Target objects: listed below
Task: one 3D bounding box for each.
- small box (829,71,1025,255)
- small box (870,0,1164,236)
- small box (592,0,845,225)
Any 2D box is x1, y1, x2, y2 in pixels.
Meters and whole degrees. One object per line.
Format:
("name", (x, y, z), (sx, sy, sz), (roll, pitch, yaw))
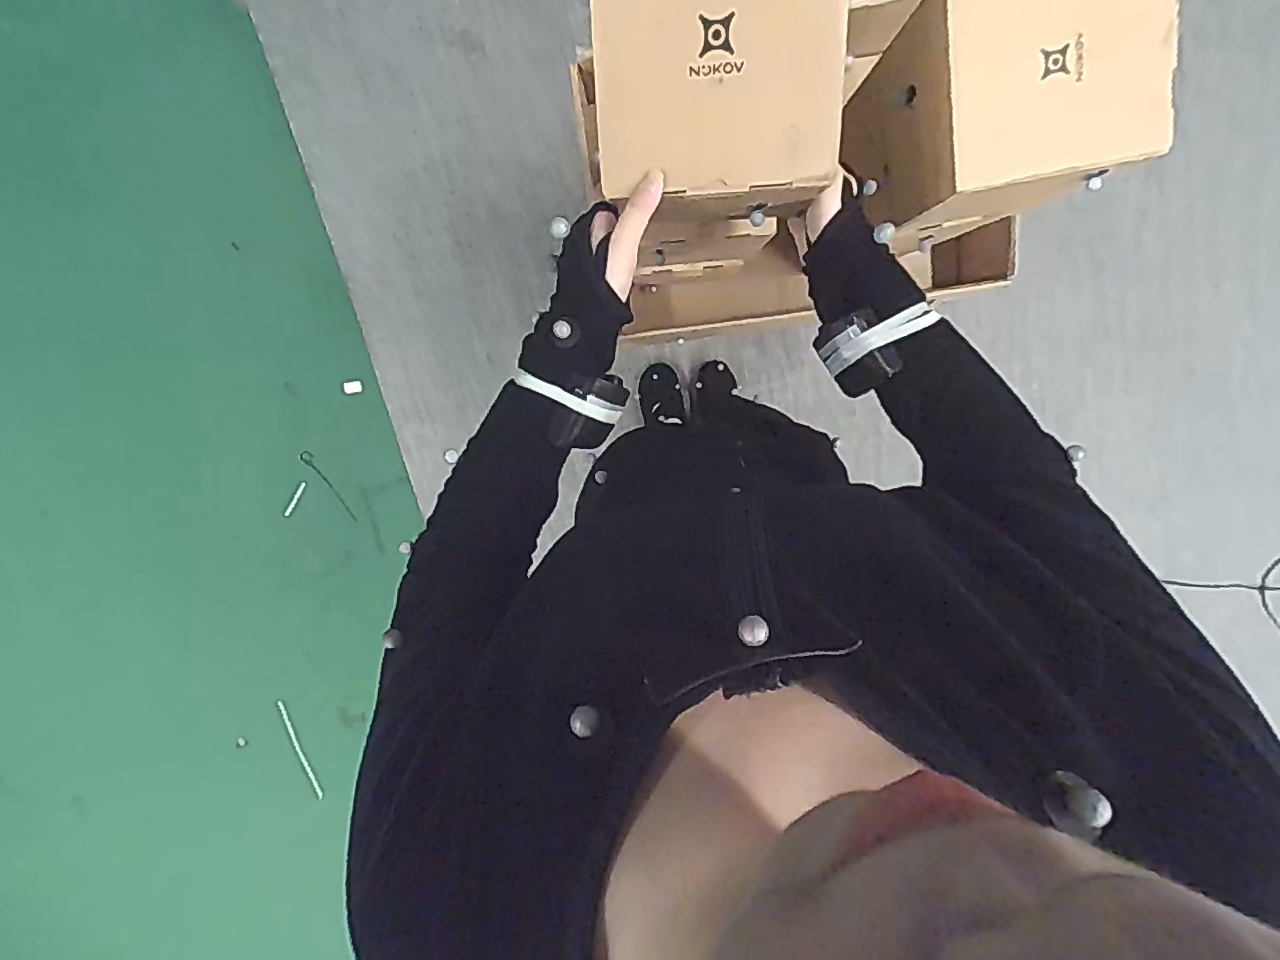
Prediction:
("small box", (0.343, -0.389, 0.673), (0.168, 0.176, 0.179), (-10, 104, 3))
("small box", (0.335, -0.348, 0.516), (0.179, 0.176, 0.168), (-10, 103, 4))
("small box", (0.058, -0.308, 0.433), (0.168, 0.176, 0.179), (-1, 108, 5))
